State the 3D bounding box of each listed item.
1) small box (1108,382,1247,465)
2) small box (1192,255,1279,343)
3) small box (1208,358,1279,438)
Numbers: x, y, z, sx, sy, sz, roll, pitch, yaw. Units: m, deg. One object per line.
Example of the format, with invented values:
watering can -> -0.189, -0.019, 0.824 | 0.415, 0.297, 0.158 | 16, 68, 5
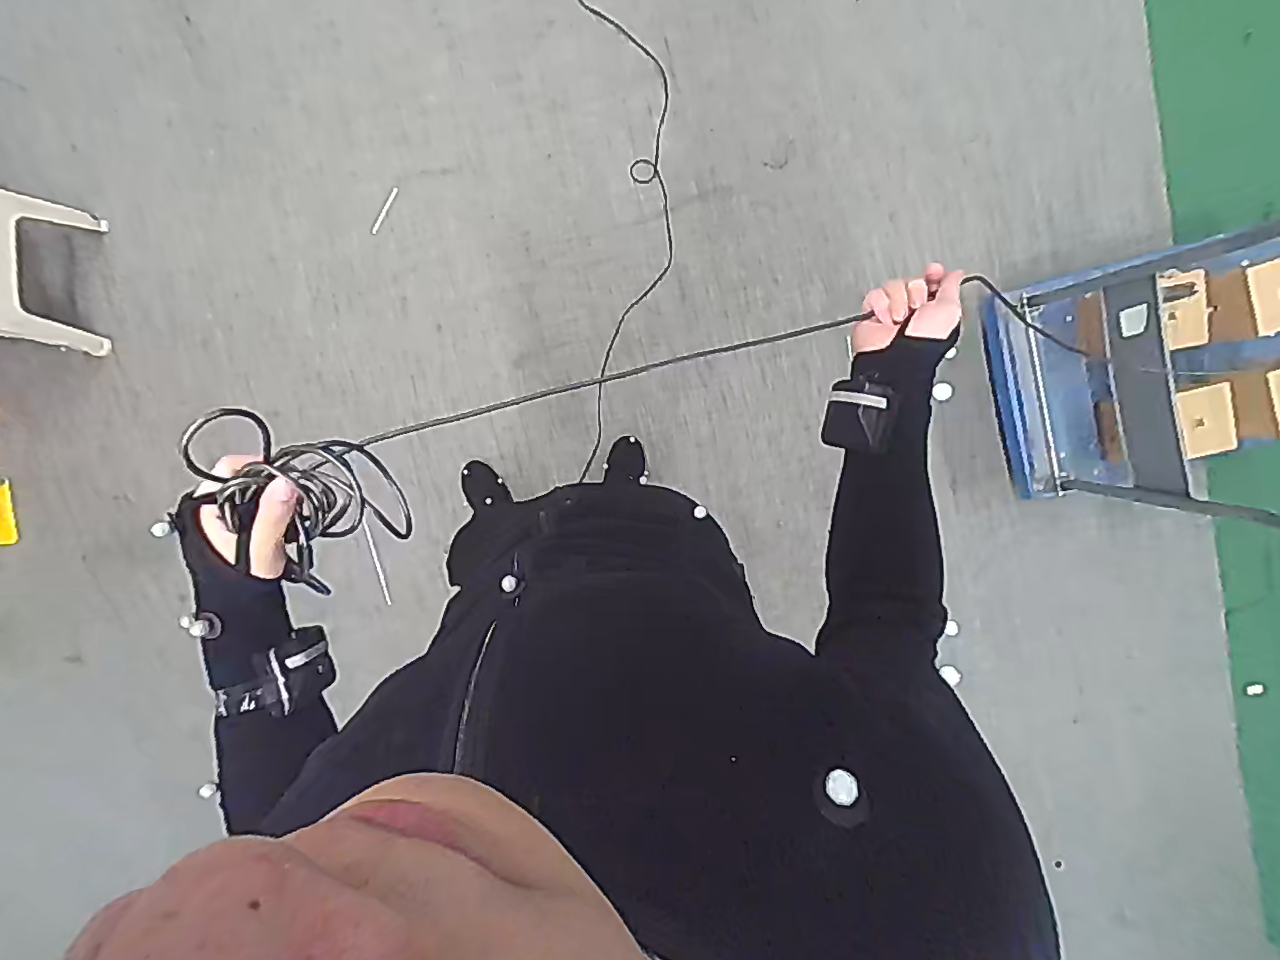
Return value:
small box -> 1.333, -0.142, 1.350 | 0.179, 0.176, 0.168 | -14, 96, 2
small box -> 1.513, -0.447, 1.322 | 0.179, 0.176, 0.168 | -18, 96, 1
small box -> 1.594, -0.210, 1.345 | 0.179, 0.176, 0.168 | -18, 95, 2
